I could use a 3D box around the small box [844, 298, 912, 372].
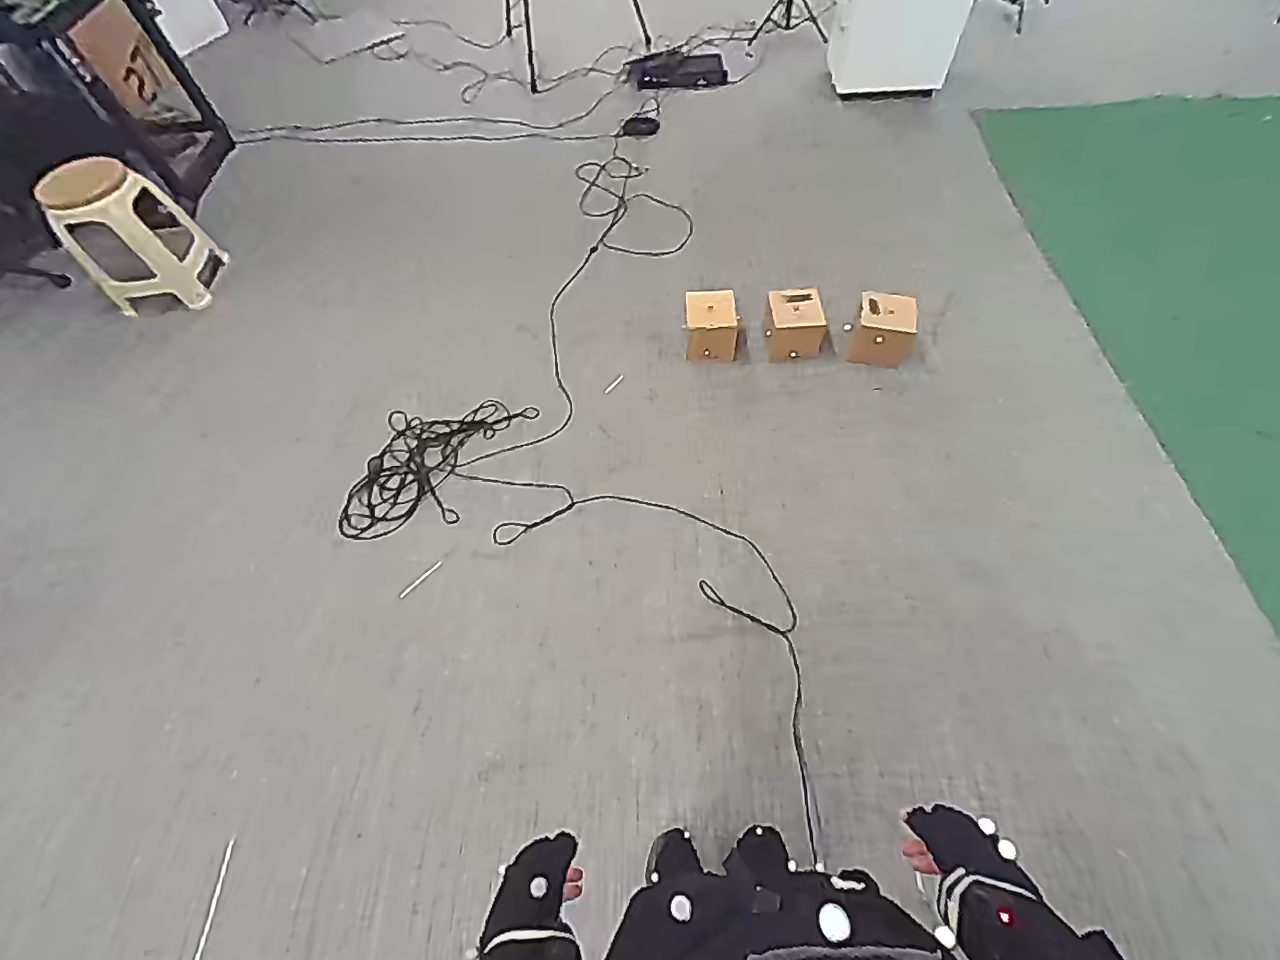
[{"bbox_3d":[0.807,-0.490,1.844,0.179,0.176,0.168,11,60,9],"label":"small box"}]

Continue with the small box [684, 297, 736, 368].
[{"bbox_3d":[0.240,-0.516,1.897,0.168,0.176,0.179,-2,59,3],"label":"small box"}]
